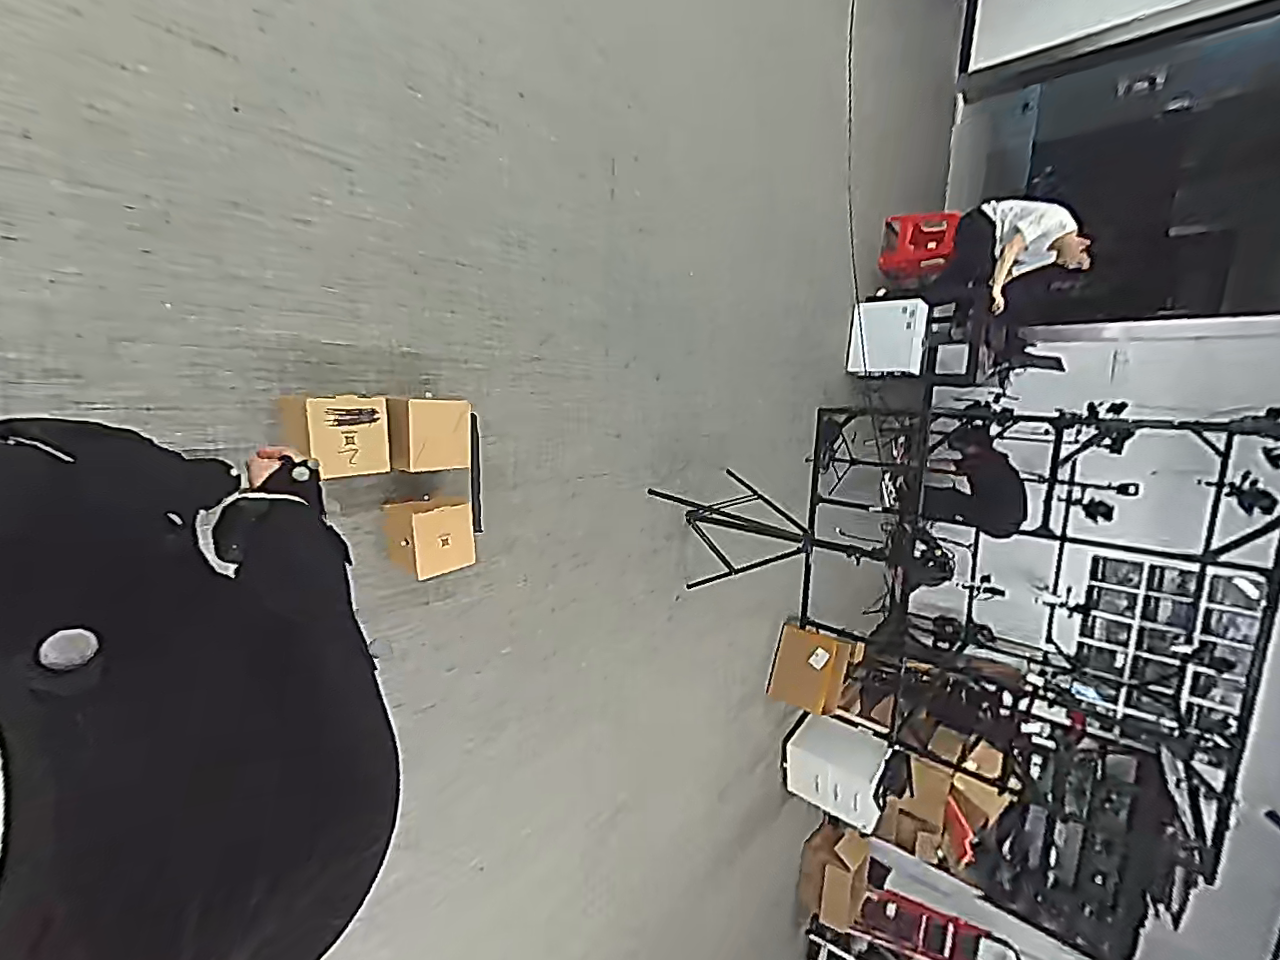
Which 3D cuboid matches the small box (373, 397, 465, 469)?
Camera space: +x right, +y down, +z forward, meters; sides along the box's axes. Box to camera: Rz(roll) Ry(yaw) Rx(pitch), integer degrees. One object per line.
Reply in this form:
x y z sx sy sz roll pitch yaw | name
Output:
-0.567 -0.124 1.393 0.168 0.176 0.179 -7 103 -49 | small box

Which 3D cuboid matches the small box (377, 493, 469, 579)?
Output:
-0.579 0.143 1.441 0.168 0.176 0.179 -14 107 -48 | small box
